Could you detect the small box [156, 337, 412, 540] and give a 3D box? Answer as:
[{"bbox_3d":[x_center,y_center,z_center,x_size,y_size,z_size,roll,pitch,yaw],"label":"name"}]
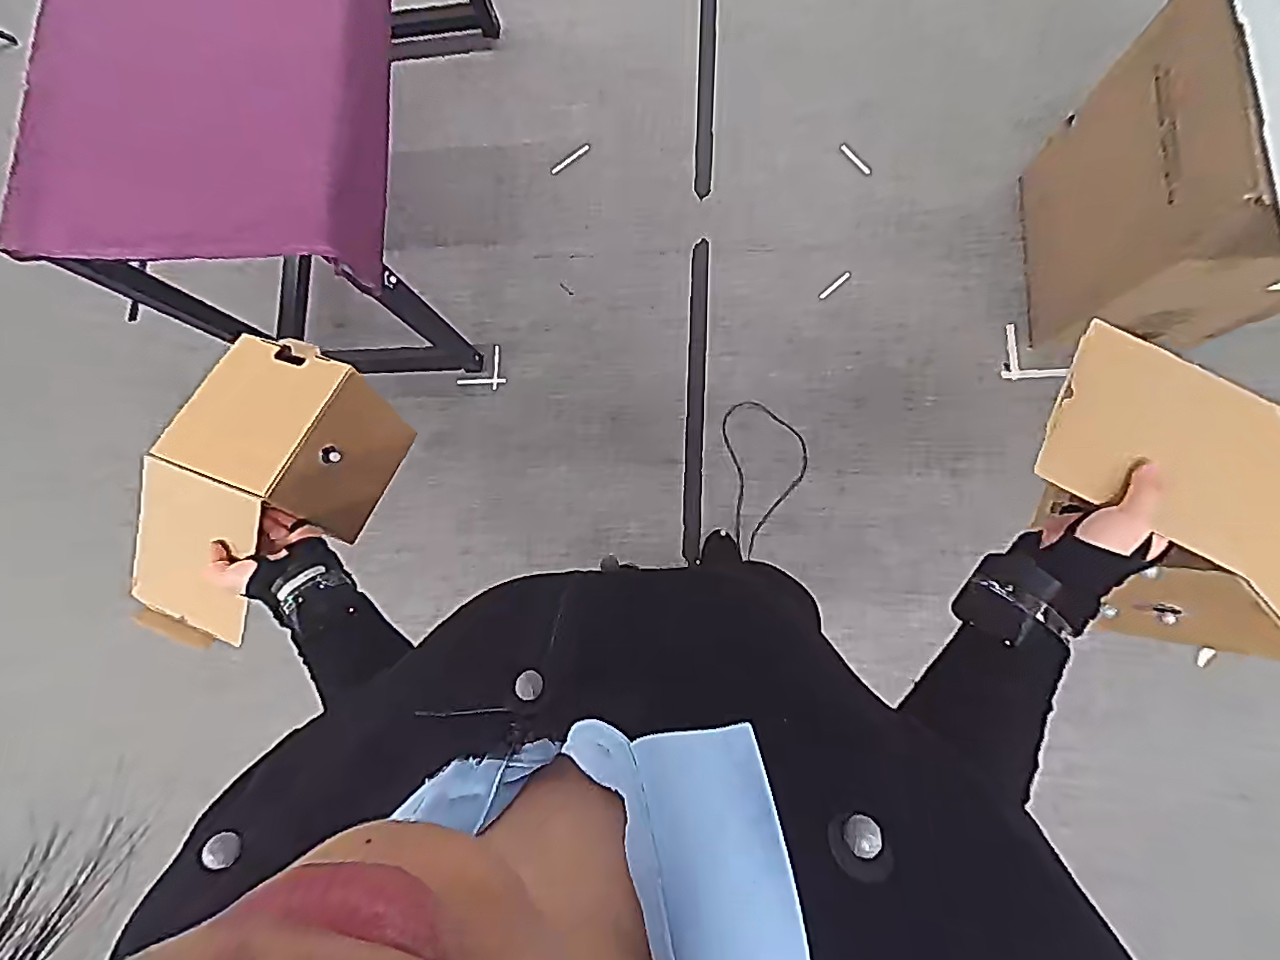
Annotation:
[{"bbox_3d":[-0.424,-0.044,0.681,0.168,0.176,0.179,18,68,12],"label":"small box"}]
